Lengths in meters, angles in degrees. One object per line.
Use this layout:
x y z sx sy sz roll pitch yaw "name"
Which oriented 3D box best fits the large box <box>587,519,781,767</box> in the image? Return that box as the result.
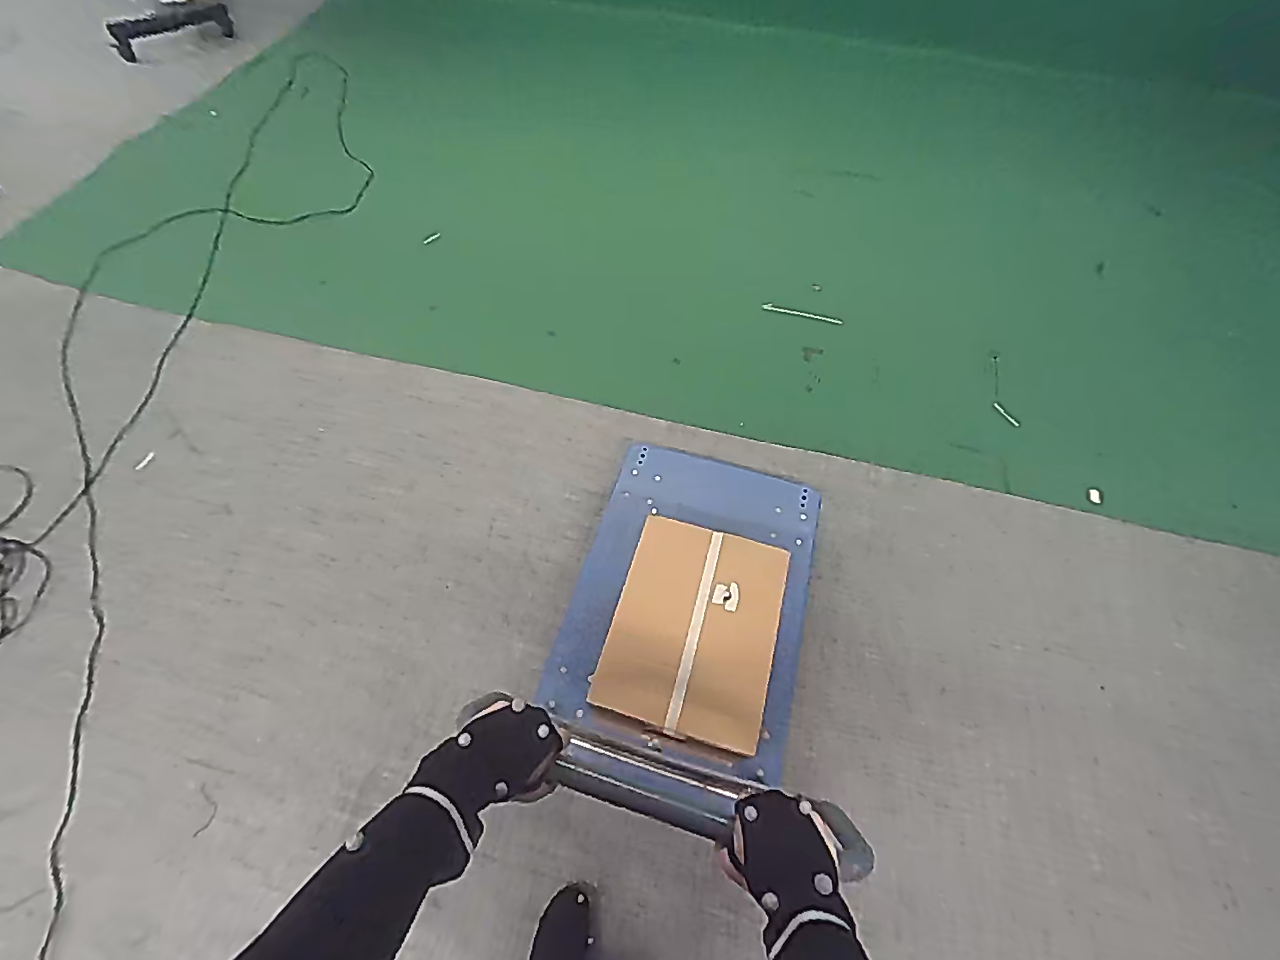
0.097 0.362 1.188 0.320 0.320 0.408 15 59 7 "large box"
